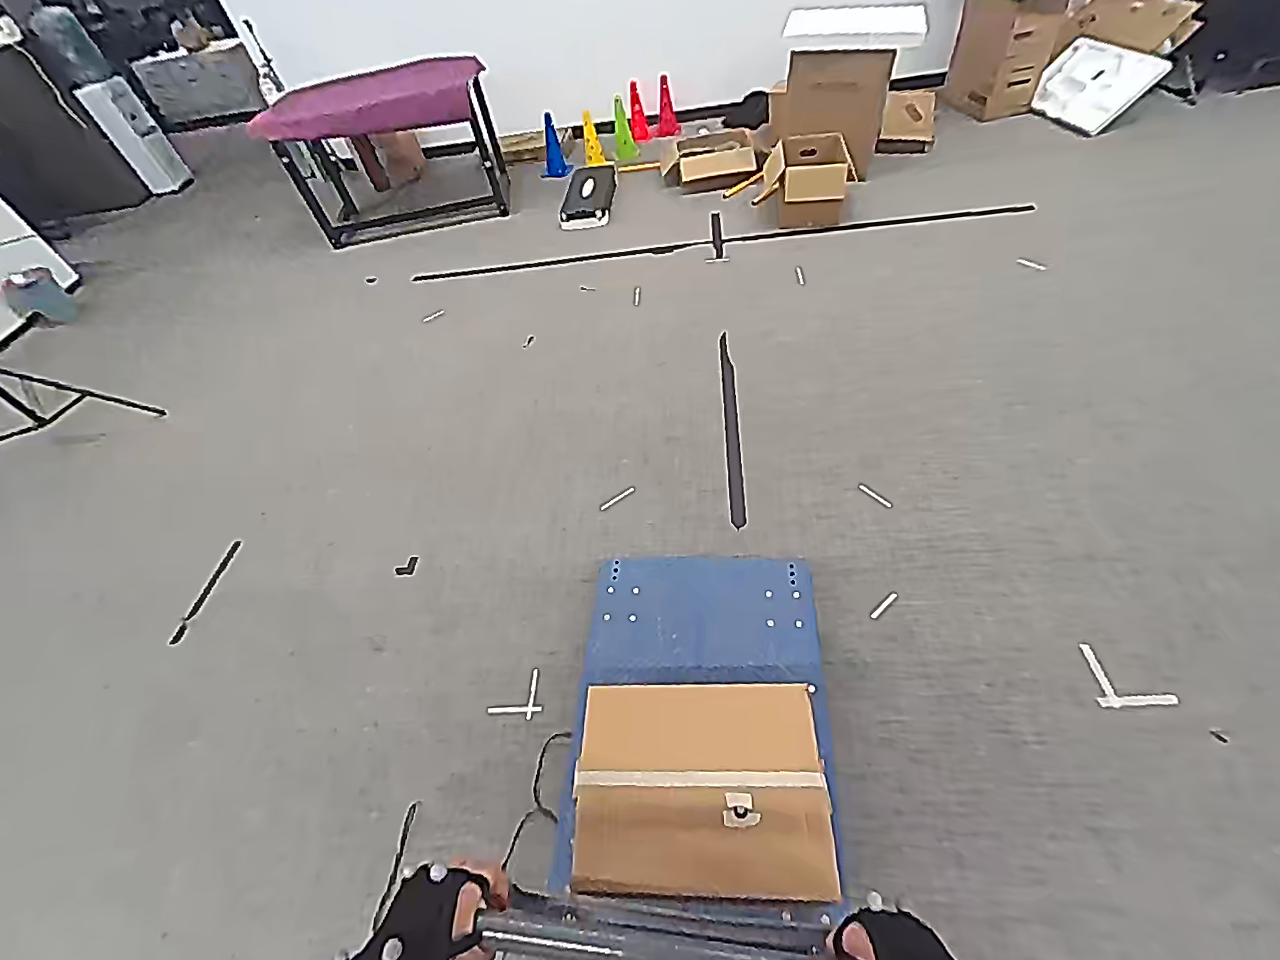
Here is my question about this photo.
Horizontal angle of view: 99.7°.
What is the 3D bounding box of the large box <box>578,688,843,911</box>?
[{"bbox_3d":[0.119,0.602,1.011,0.408,0.320,0.320,-3,50,6],"label":"large box"}]
